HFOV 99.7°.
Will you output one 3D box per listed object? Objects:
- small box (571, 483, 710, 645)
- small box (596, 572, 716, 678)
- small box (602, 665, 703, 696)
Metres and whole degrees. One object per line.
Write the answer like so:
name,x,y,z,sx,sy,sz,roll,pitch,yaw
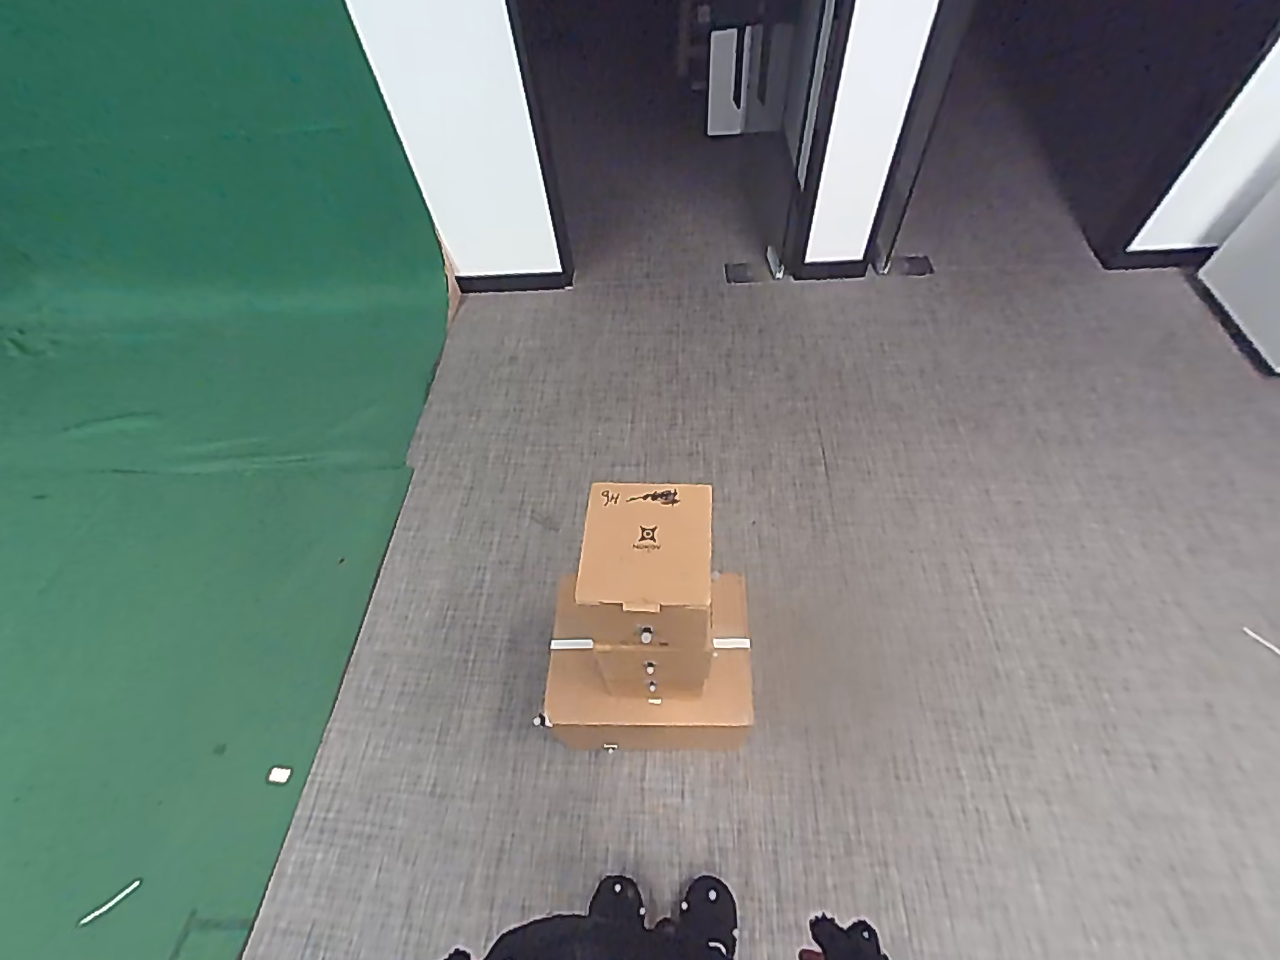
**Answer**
small box,0.012,0.122,0.755,0.168,0.176,0.179,2,57,7
small box,0.025,0.220,0.885,0.179,0.176,0.168,-3,57,2
small box,0.030,0.306,1.025,0.179,0.176,0.168,1,57,4
